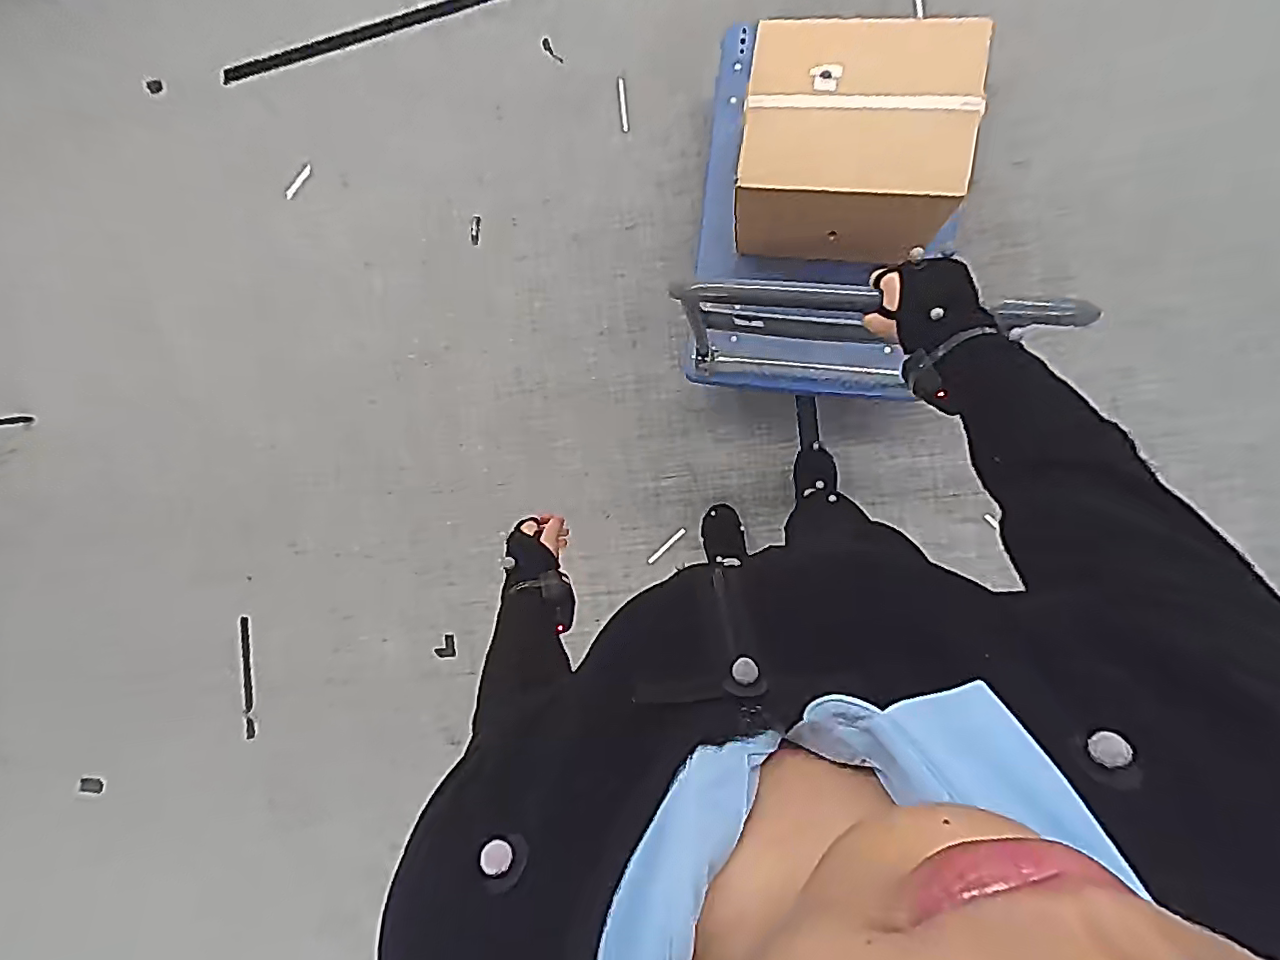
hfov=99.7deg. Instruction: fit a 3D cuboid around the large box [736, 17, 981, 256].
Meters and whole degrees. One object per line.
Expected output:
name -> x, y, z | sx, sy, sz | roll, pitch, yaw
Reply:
large box -> 0.425, -0.686, 1.139 | 0.408, 0.320, 0.320 | 7, 90, 12
